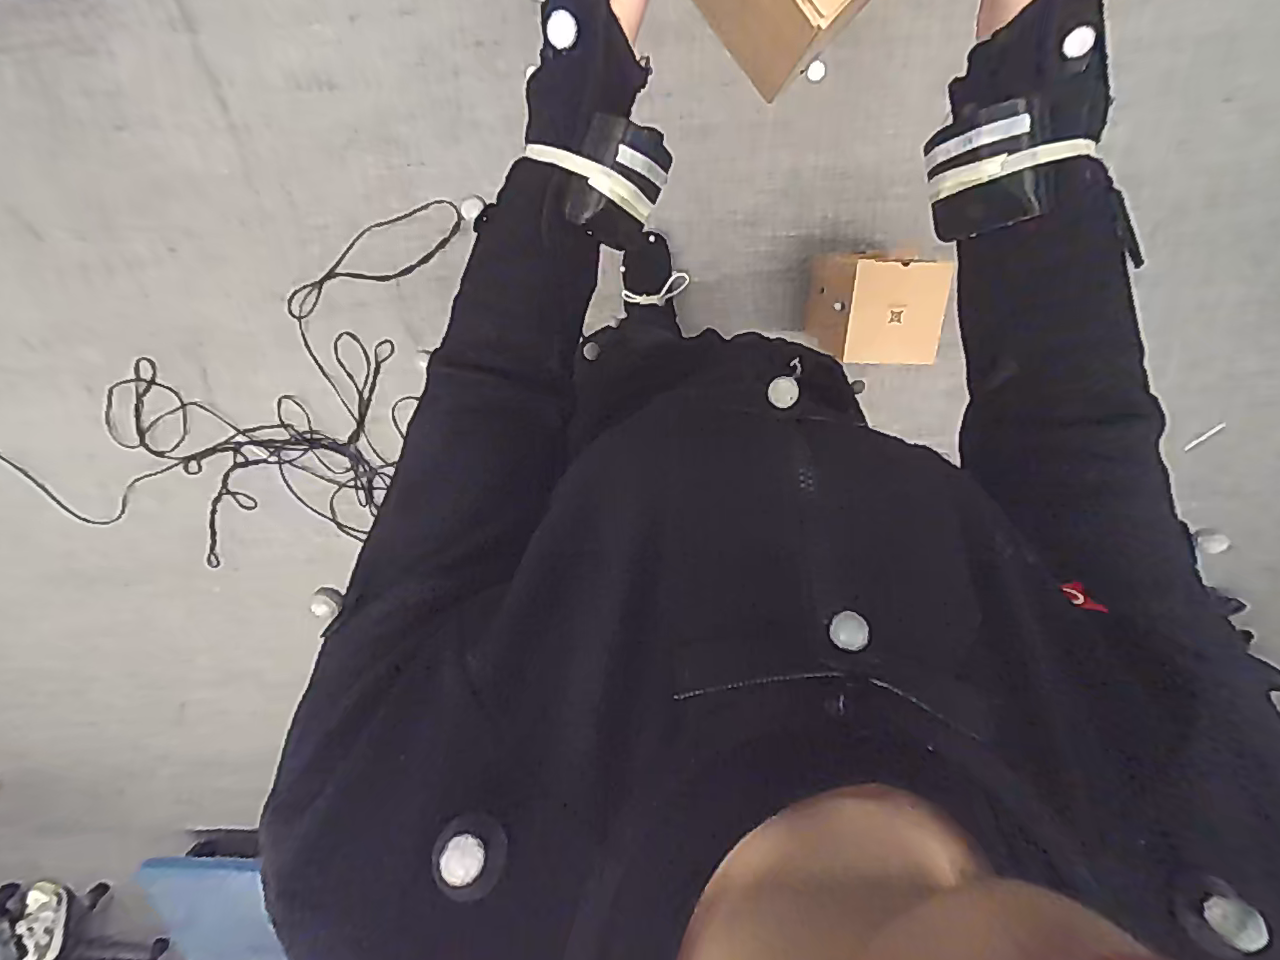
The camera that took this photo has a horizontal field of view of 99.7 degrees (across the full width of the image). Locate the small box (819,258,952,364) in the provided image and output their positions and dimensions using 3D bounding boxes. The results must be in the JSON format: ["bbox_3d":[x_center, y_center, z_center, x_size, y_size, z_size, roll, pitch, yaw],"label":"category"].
[{"bbox_3d":[0.445,-0.321,1.014,0.168,0.176,0.179,1,111,2],"label":"small box"}]

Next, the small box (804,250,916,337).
[{"bbox_3d":[0.461,-0.395,1.160,0.168,0.176,0.179,1,111,1],"label":"small box"}]
